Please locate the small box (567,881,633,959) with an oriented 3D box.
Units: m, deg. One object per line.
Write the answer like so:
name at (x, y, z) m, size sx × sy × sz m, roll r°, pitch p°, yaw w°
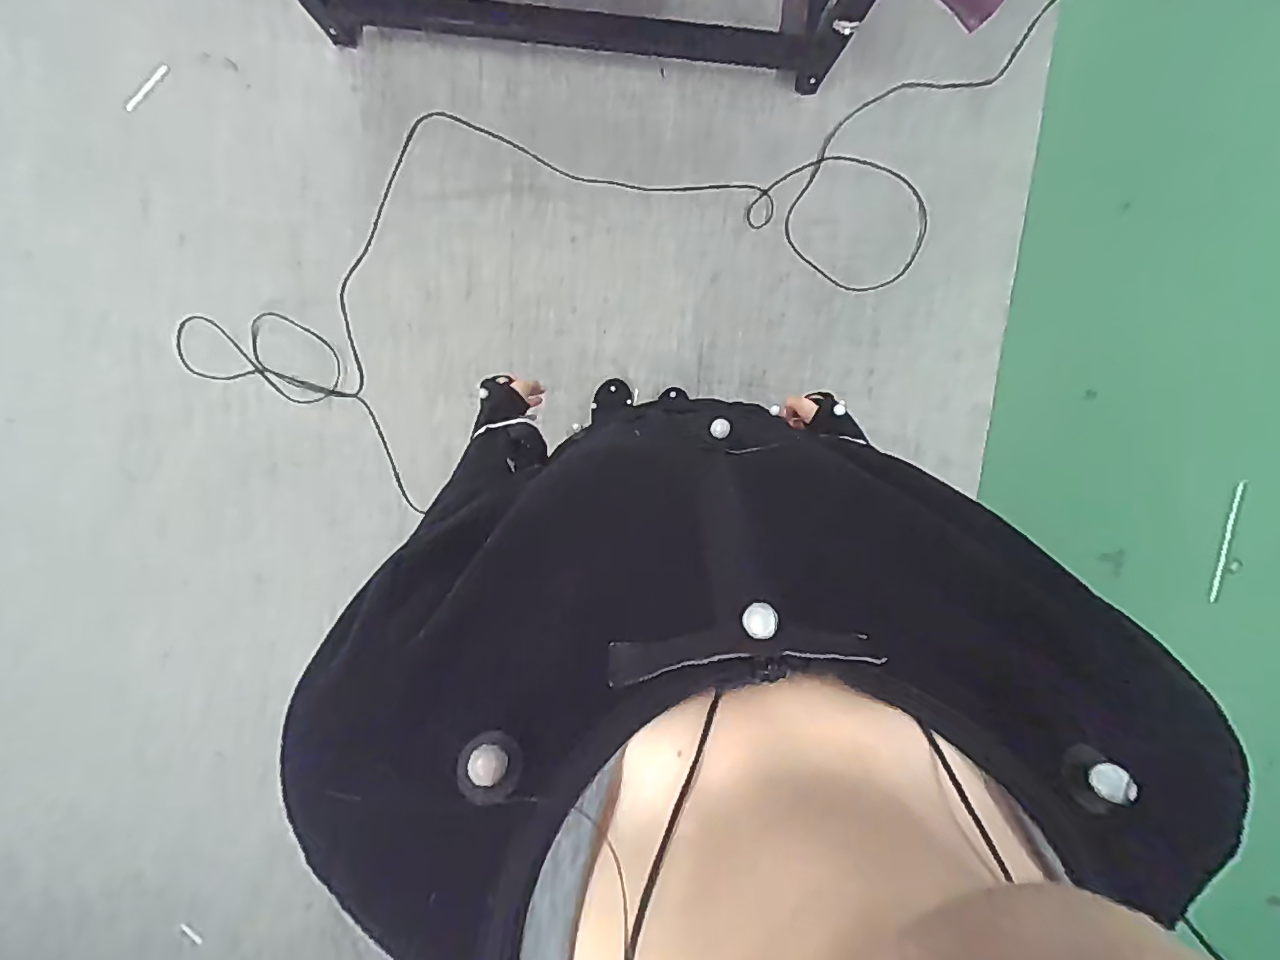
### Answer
small box at (-0.118, 1.309, 1.574) m, size 0.179 × 0.176 × 0.168 m, roll 3°, pitch 98°, yaw -5°
